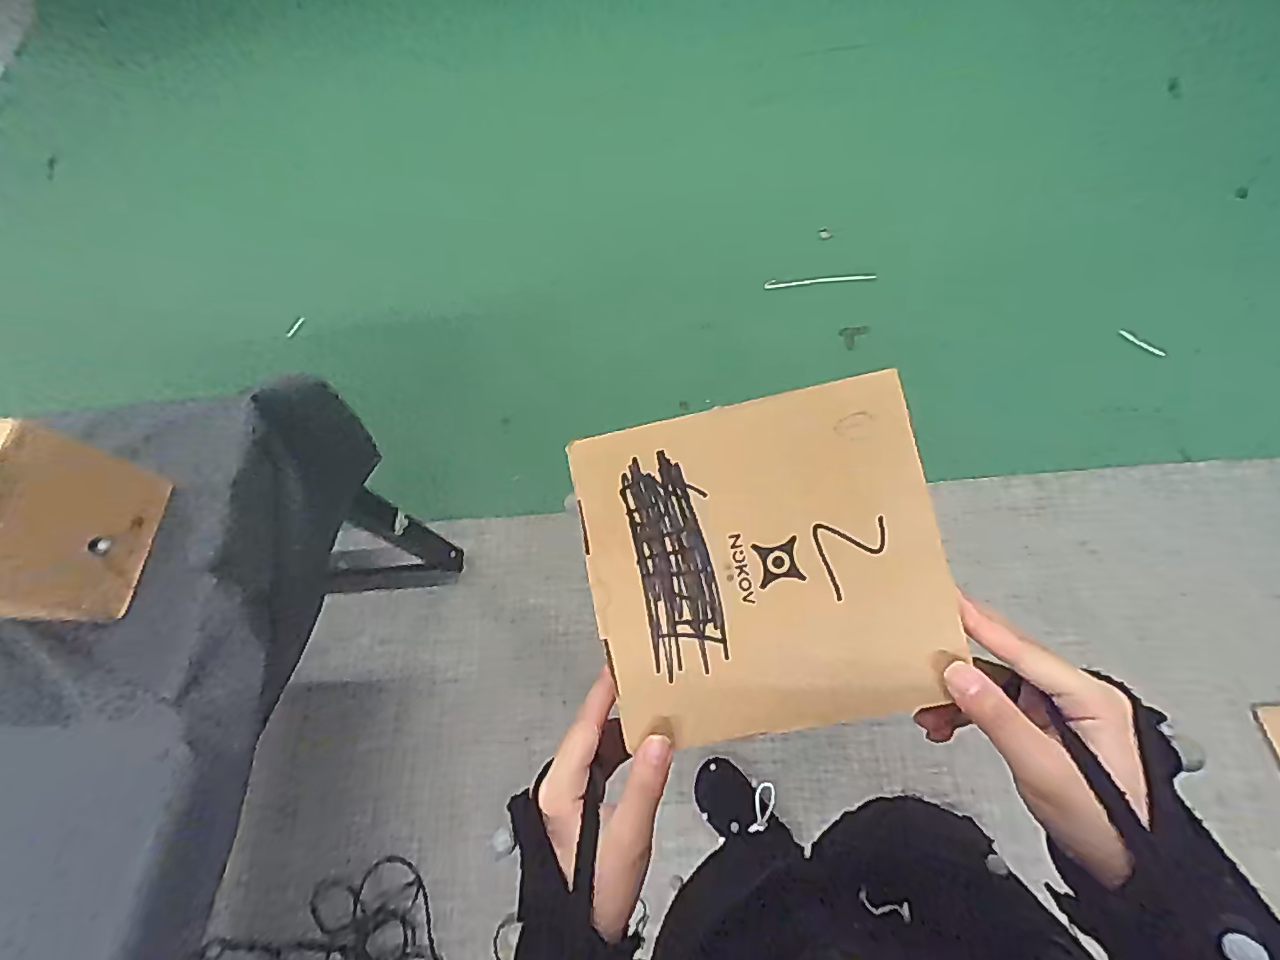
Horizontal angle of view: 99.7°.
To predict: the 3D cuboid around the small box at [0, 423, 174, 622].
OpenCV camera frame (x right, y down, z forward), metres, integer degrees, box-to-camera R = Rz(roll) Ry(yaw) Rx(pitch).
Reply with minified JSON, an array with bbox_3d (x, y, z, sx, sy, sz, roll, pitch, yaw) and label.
[{"bbox_3d":[-0.660,0.053,0.565,0.179,0.176,0.168,-1,67,6],"label":"small box"}]
